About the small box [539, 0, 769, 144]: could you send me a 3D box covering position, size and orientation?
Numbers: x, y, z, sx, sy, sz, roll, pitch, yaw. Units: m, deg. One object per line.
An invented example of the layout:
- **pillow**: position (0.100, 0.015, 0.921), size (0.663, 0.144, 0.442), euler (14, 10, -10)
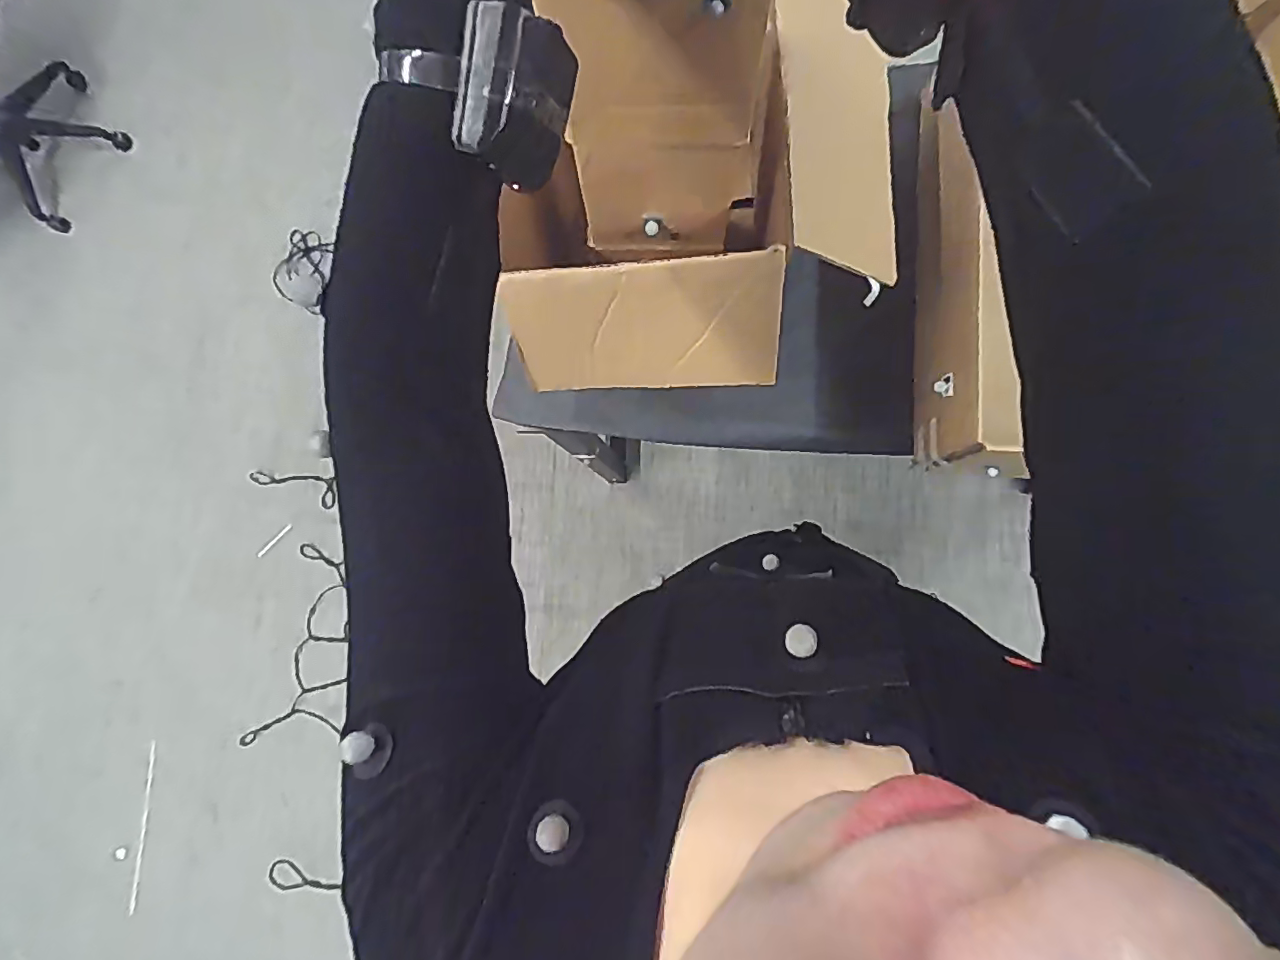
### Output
- **small box**: position (0.014, -0.411, 0.447), size (0.179, 0.176, 0.168), euler (3, 81, 3)
